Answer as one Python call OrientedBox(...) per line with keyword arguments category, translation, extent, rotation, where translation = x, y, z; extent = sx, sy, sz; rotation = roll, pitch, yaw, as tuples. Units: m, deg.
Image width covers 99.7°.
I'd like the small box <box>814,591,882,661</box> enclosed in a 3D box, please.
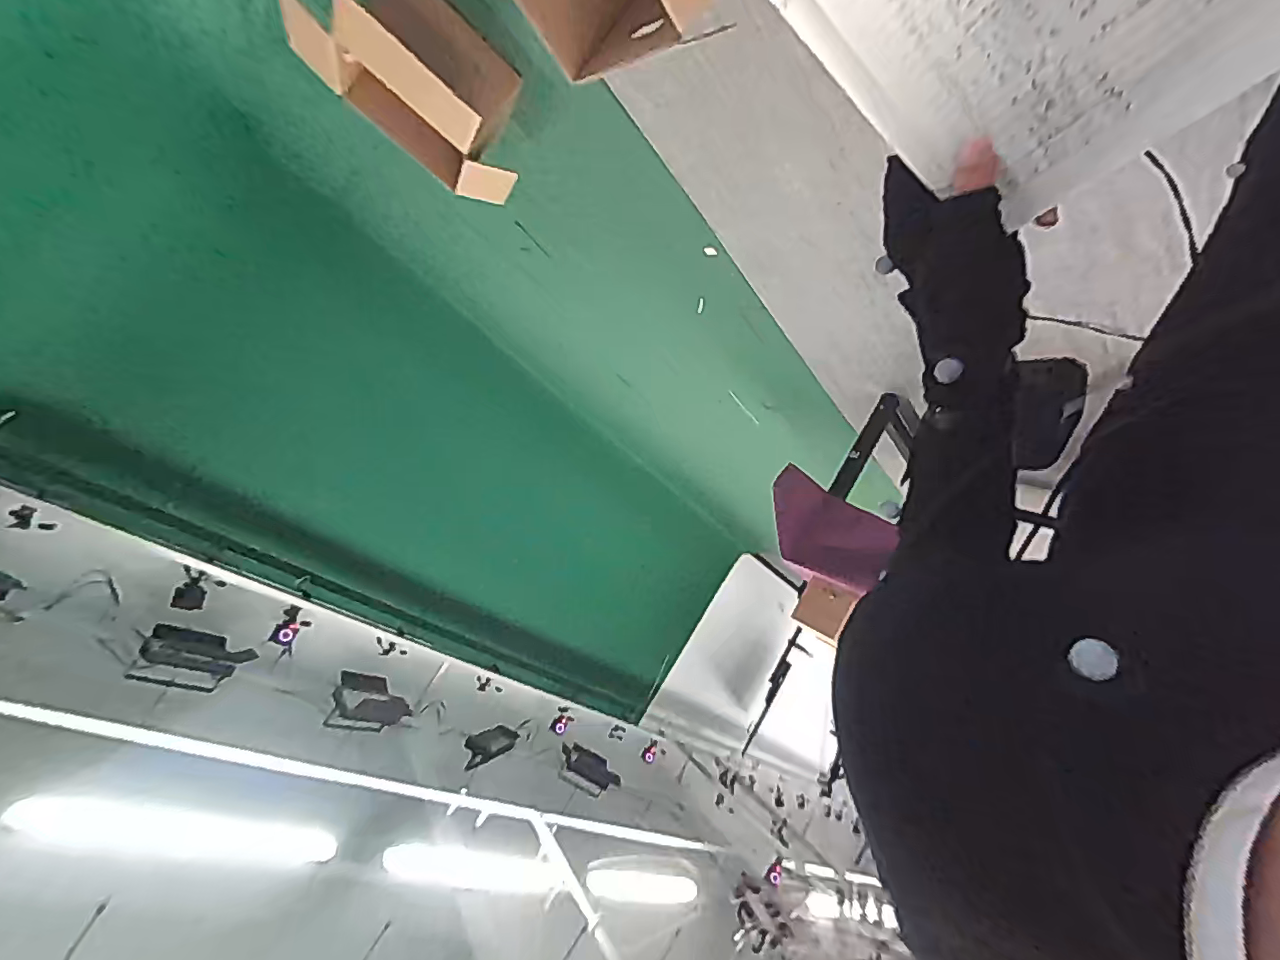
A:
OrientedBox(category="small box", translation=(0.777, 0.536, 1.992), extent=(0.168, 0.176, 0.179), rotation=(22, 168, 46))
